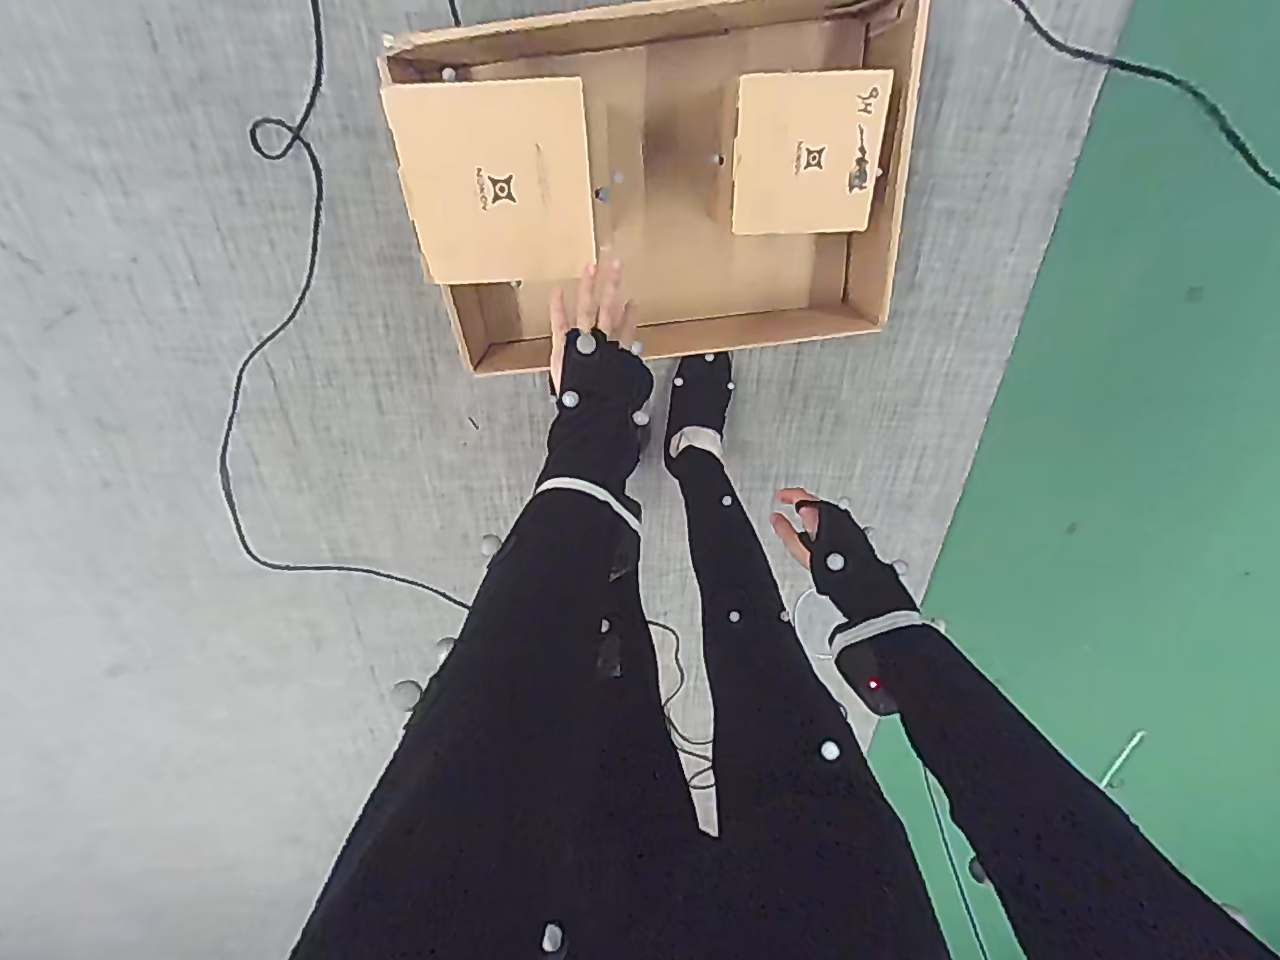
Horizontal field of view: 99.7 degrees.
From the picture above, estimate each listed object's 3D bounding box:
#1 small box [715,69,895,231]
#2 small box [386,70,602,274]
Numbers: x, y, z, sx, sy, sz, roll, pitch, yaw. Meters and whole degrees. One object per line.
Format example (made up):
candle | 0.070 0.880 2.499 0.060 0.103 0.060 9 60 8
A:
small box | 0.196 -0.424 0.707 0.179 0.176 0.168 -1 121 -1
small box | -0.132 -0.319 0.568 0.179 0.176 0.168 -3 122 -2
